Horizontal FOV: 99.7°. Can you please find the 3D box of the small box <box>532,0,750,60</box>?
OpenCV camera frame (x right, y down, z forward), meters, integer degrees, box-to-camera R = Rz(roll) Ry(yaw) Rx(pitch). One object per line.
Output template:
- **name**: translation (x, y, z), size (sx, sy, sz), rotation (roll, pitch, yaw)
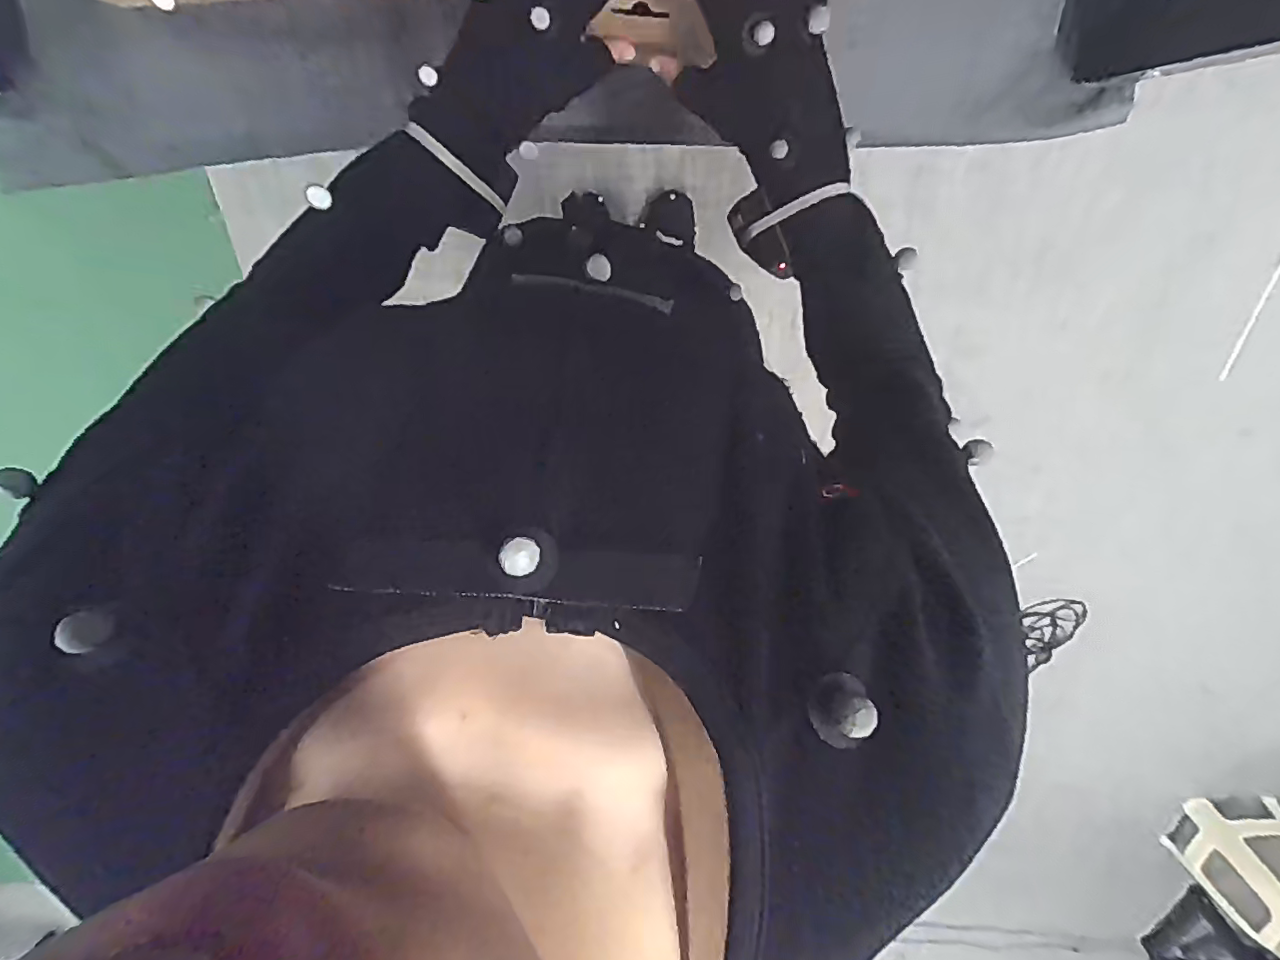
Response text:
- **small box**: translation (0.009, -0.457, 0.425), size (0.168, 0.176, 0.179), rotation (4, 118, -1)
